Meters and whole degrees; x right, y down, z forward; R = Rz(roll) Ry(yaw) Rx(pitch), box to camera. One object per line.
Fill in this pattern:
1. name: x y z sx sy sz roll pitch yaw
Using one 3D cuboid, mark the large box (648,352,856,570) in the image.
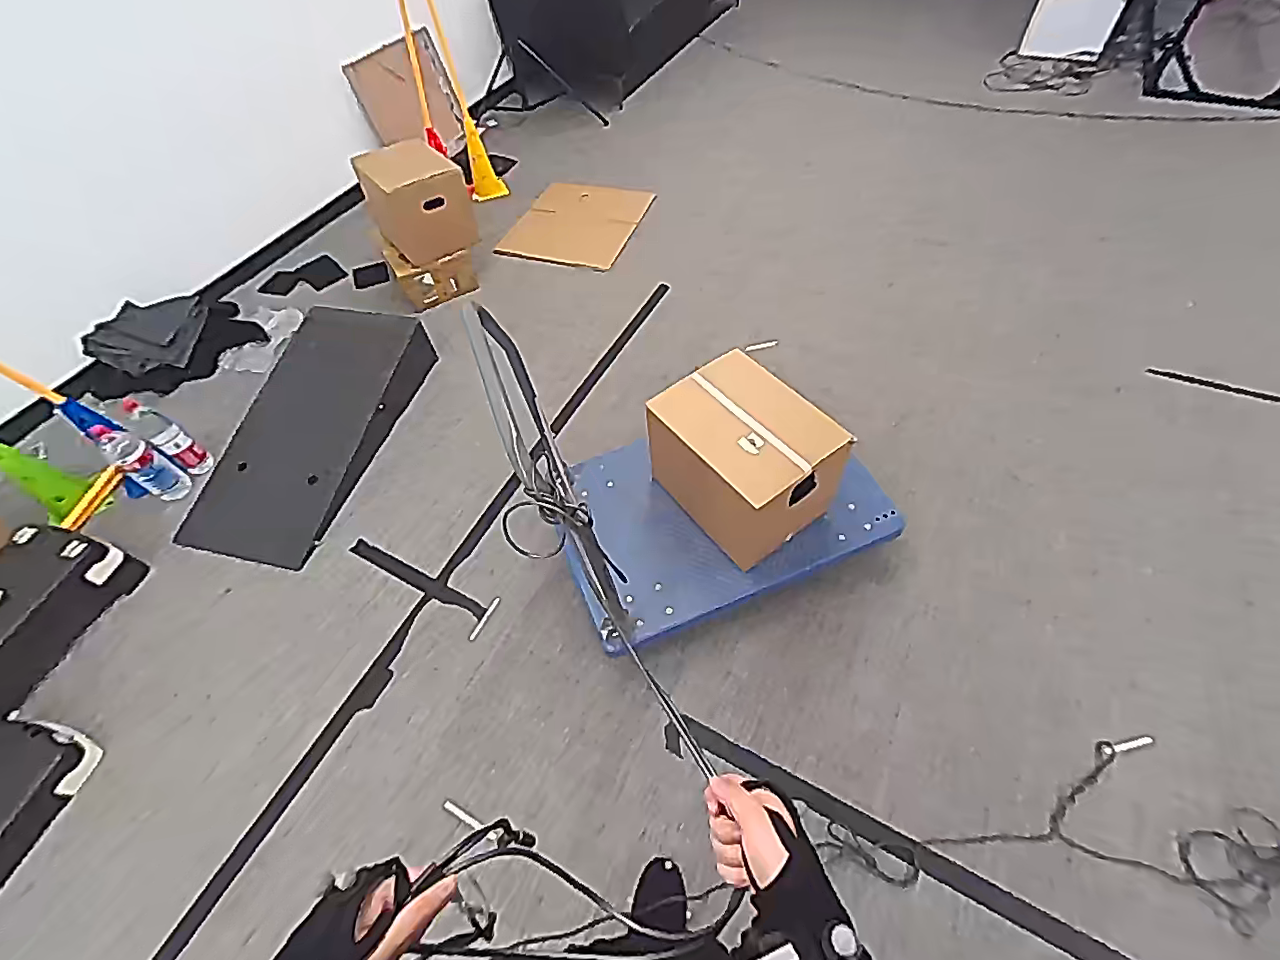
1. large box: 0.263 -0.051 1.403 0.320 0.320 0.408 -33 60 -17
